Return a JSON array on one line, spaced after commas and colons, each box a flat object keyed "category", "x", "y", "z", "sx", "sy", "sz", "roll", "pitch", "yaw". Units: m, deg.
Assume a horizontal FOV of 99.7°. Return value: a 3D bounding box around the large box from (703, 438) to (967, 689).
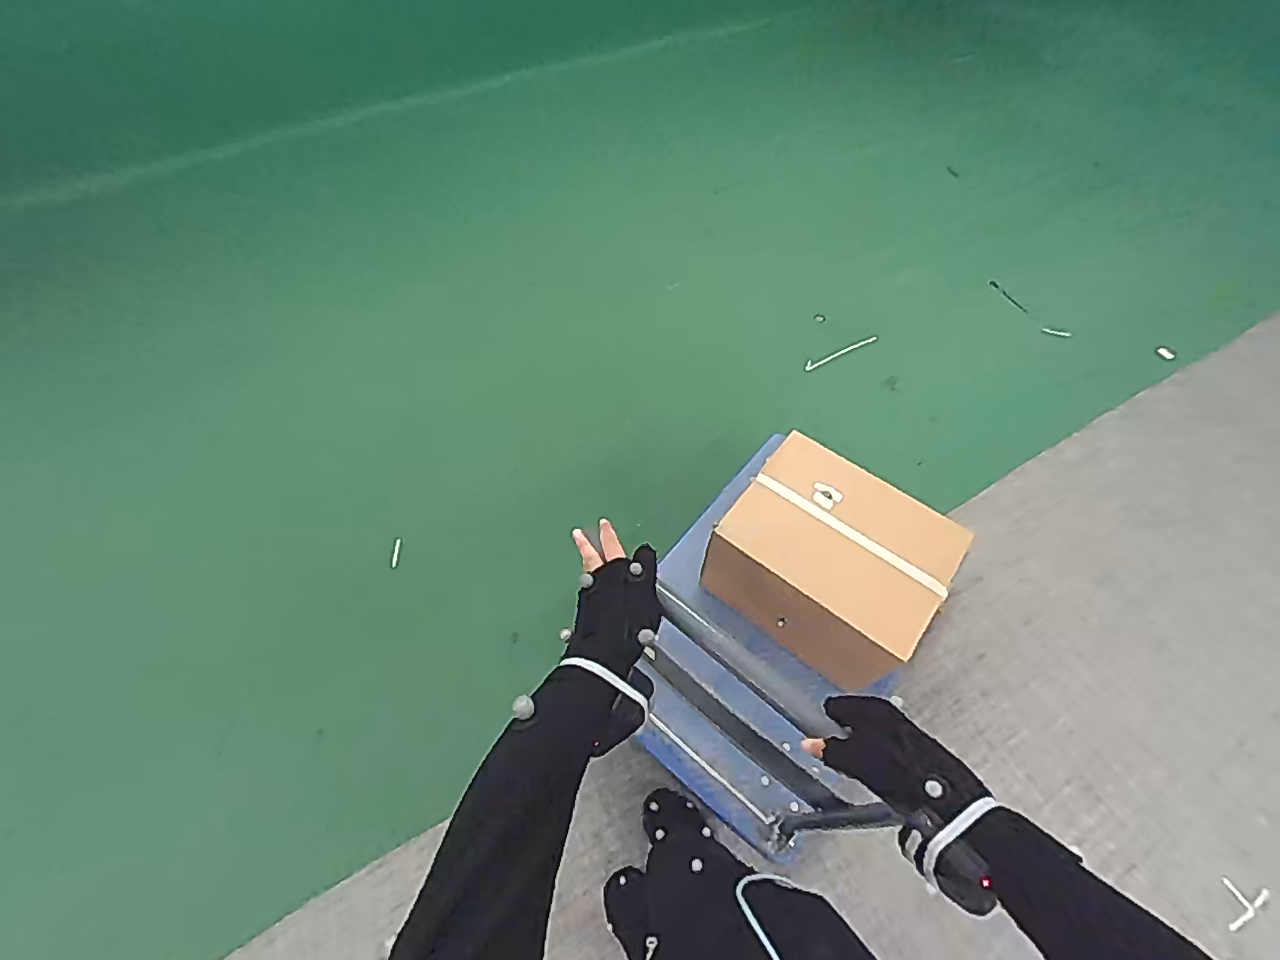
[{"category": "large box", "x": 0.395, "y": 0.186, "z": 1.184, "sx": 0.408, "sy": 0.320, "sz": 0.320, "roll": 34, "pitch": 64, "yaw": 20}]
